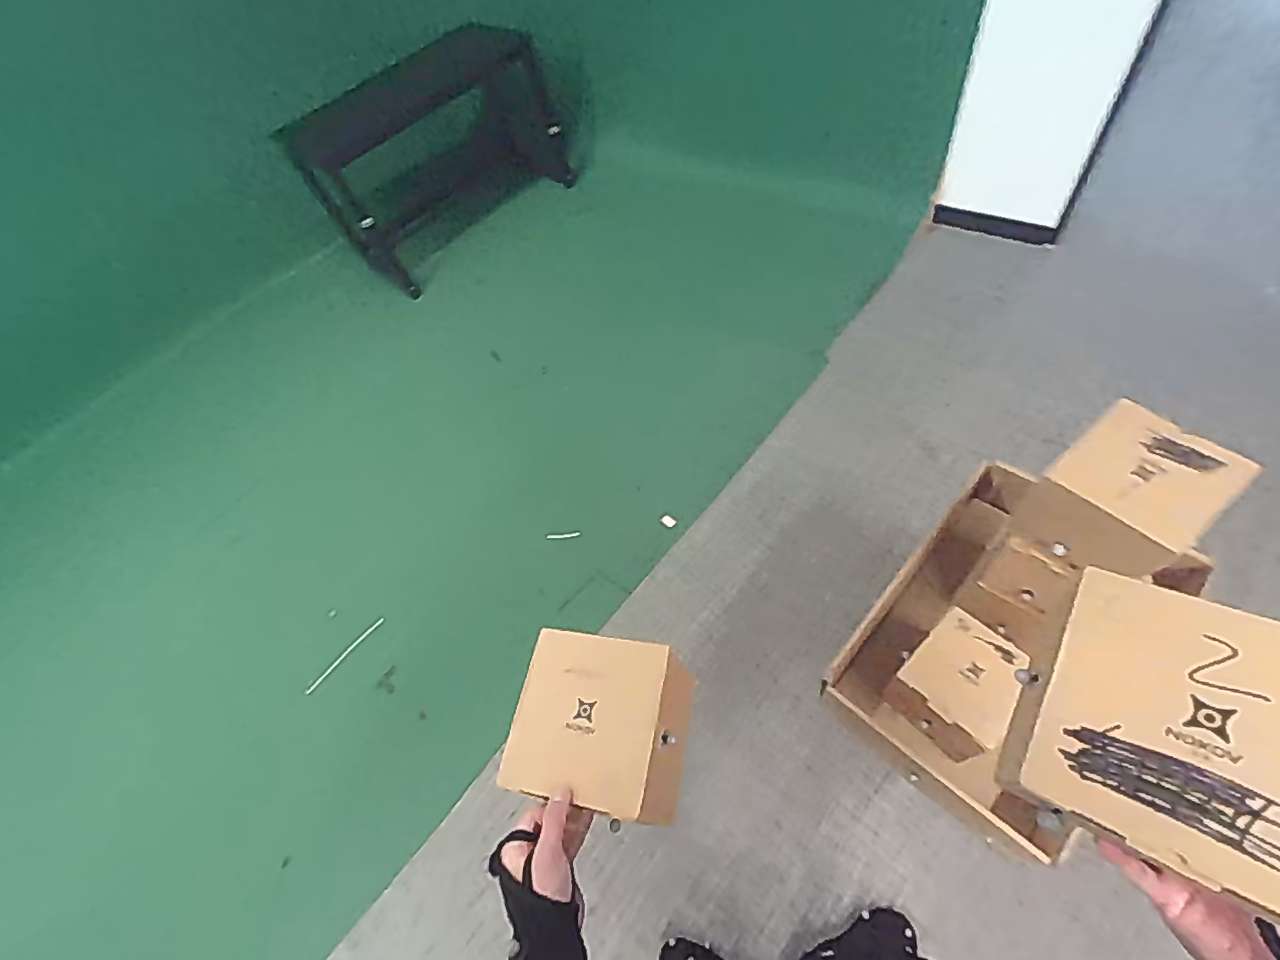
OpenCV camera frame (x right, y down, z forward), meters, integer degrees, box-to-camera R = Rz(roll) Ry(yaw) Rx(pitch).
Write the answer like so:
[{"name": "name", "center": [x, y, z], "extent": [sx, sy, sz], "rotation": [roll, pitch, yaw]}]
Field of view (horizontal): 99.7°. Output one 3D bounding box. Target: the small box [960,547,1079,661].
[{"name": "small box", "center": [0.744, 0.210, 1.028], "extent": [0.168, 0.176, 0.179], "rotation": [34, 72, 31]}]

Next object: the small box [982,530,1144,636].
[{"name": "small box", "center": [0.706, 0.124, 0.895], "extent": [0.168, 0.176, 0.179], "rotation": [34, 72, 30]}]

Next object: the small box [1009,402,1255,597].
[{"name": "small box", "center": [0.670, 0.031, 0.765], "extent": [0.179, 0.176, 0.168], "rotation": [-39, 57, -10]}]
